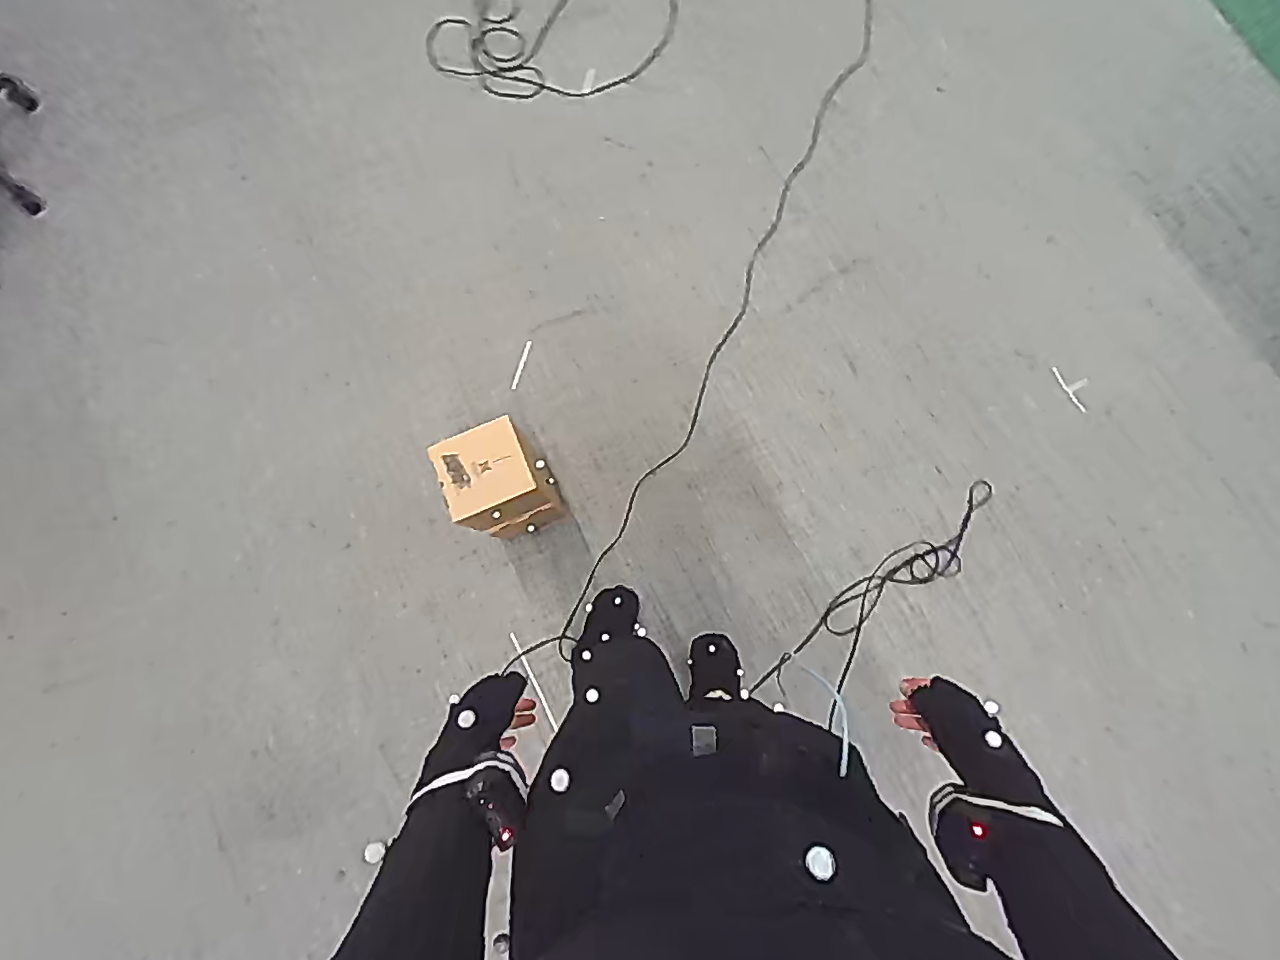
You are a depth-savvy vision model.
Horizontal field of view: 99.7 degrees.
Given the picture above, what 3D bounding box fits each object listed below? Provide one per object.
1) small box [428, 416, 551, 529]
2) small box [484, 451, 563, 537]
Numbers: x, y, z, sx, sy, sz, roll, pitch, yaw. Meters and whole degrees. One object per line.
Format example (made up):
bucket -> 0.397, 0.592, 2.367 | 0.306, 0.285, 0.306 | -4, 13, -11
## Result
small box -> -0.308, -0.007, 1.136 | 0.179, 0.176, 0.168 | -23, 80, -2
small box -> -0.299, 0.028, 1.297 | 0.168, 0.176, 0.179 | -25, 80, -2
